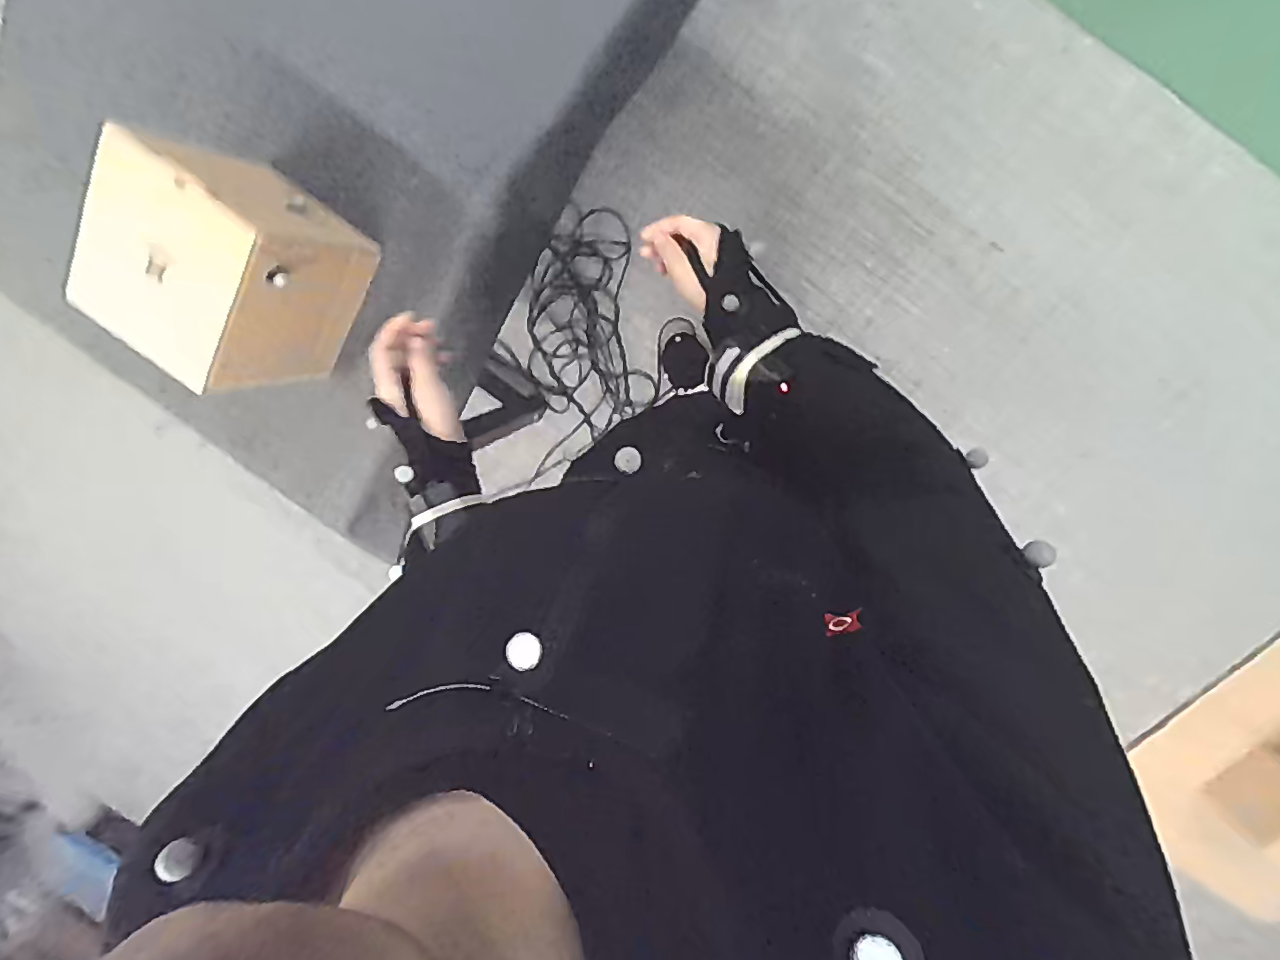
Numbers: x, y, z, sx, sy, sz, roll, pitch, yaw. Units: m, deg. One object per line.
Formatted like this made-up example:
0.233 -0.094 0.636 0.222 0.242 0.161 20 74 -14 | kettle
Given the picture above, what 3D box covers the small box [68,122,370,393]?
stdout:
-0.423 -0.216 0.566 0.168 0.176 0.179 35 109 0 | small box
